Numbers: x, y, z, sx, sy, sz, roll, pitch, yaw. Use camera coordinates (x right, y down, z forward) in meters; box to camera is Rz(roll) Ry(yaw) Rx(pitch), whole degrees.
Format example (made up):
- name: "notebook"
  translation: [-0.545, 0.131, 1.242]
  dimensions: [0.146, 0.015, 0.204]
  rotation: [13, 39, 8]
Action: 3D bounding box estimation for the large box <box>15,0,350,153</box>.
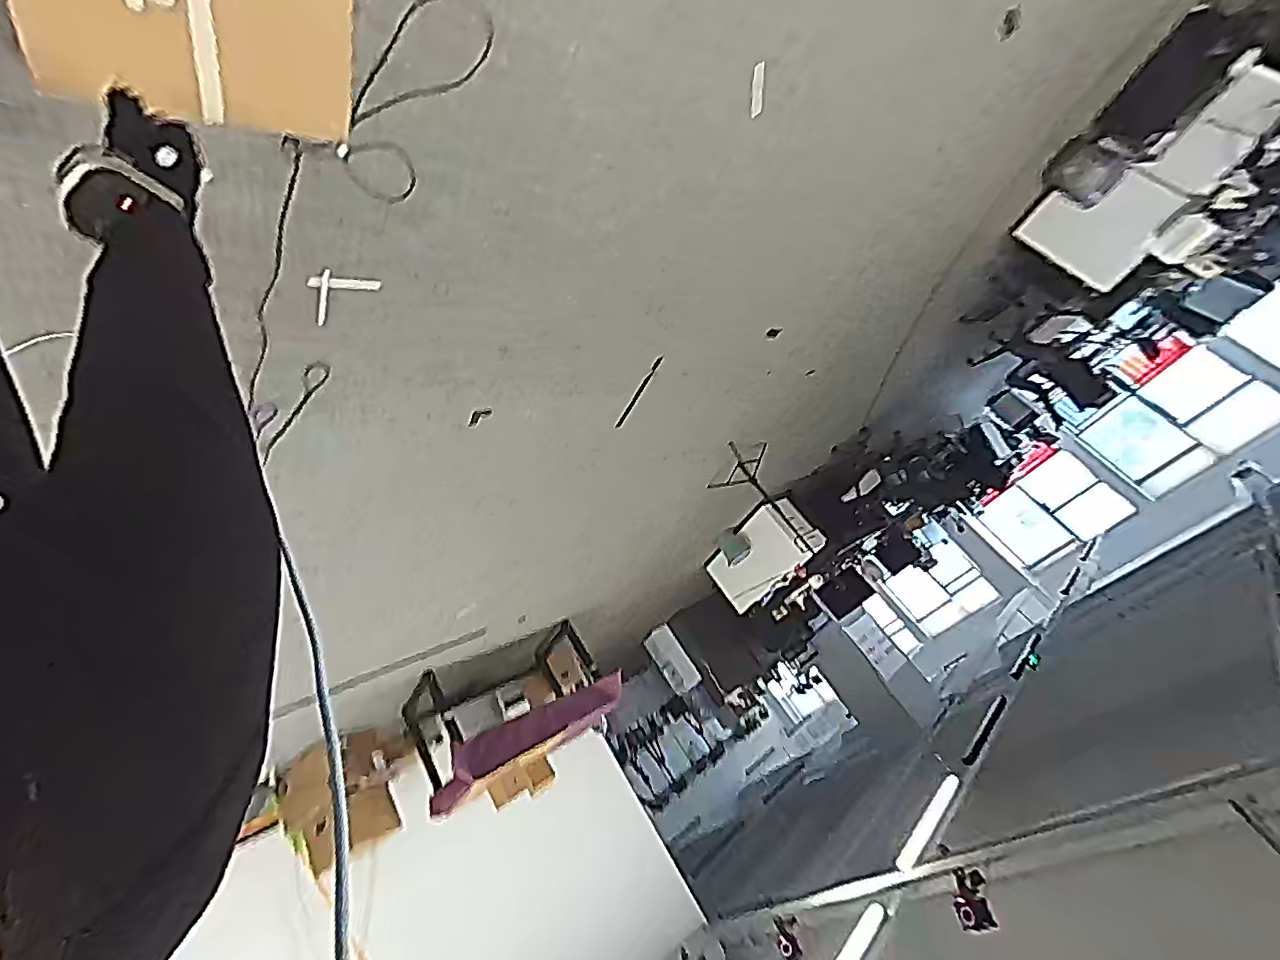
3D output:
- name: "large box"
  translation: [-0.554, -0.690, 0.632]
  dimensions: [0.320, 0.320, 0.408]
  rotation: [-14, 149, -38]
